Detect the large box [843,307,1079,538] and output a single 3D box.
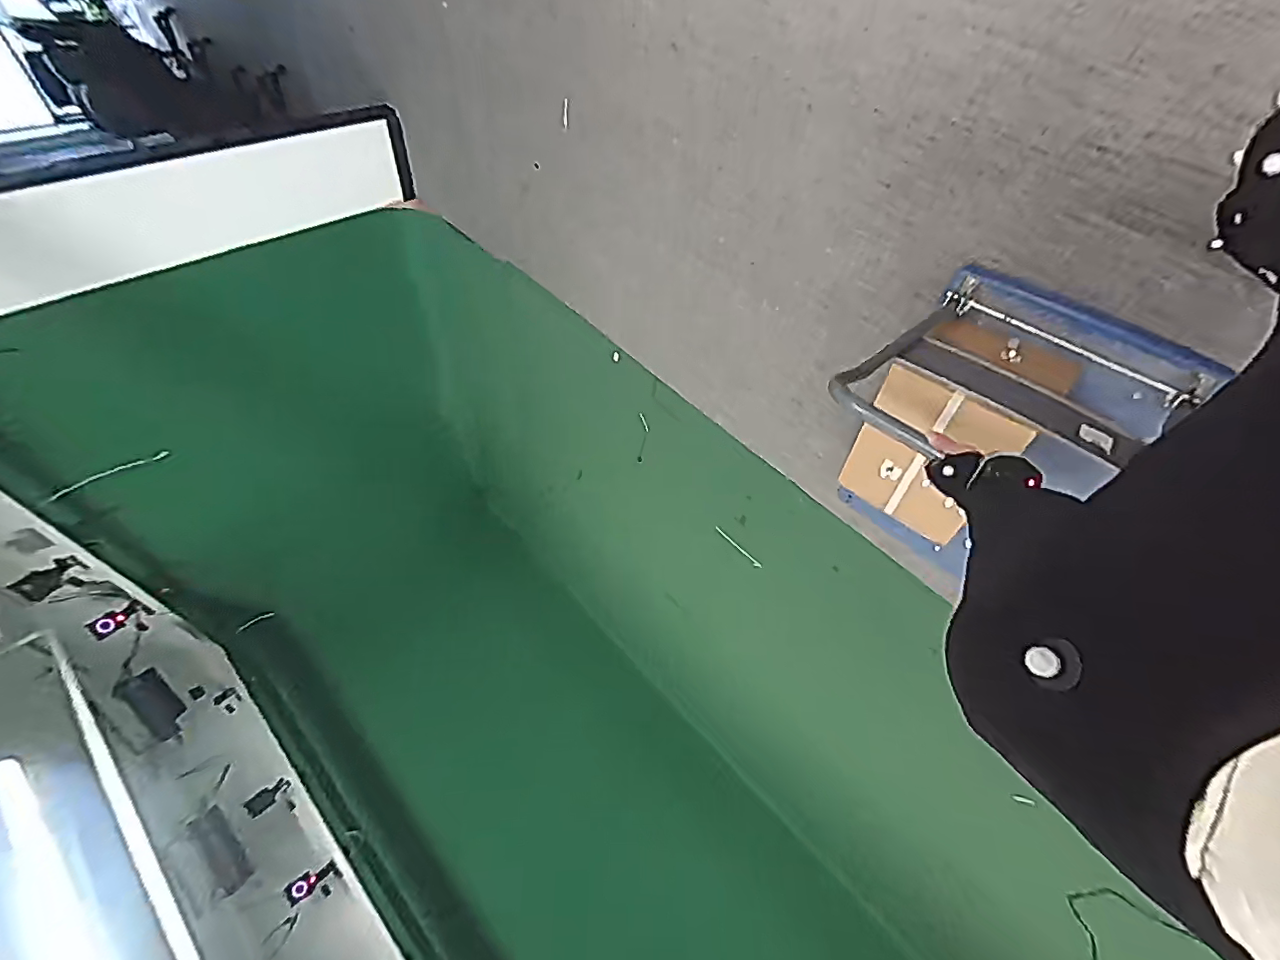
[{"bbox_3d":[0.769,-0.145,1.338,0.320,0.320,0.408,37,147,26],"label":"large box"}]
